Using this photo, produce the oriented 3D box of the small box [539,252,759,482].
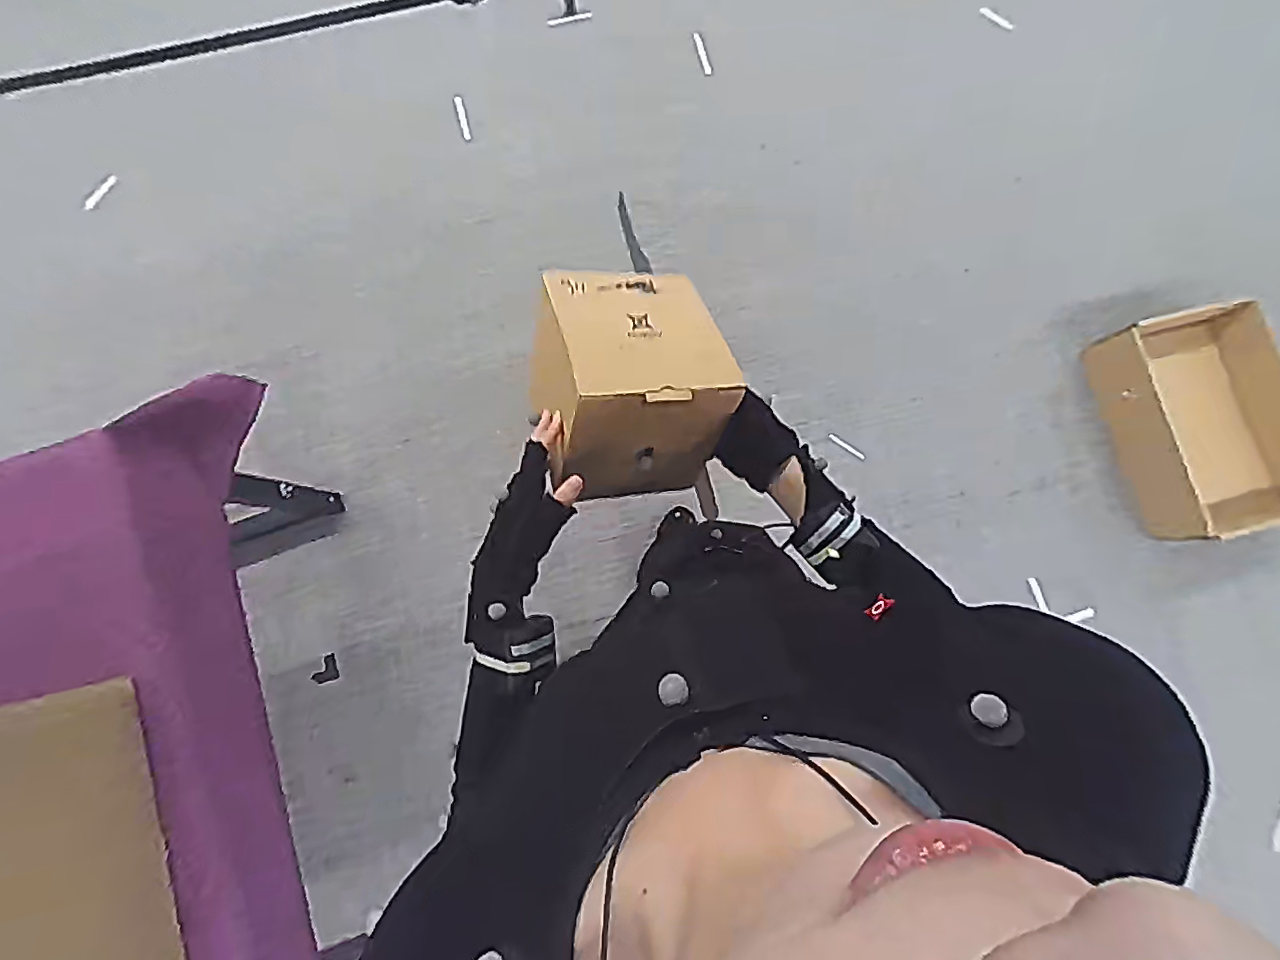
[{"bbox_3d":[-0.007,-0.110,0.568,0.168,0.176,0.179,-5,59,-20],"label":"small box"}]
